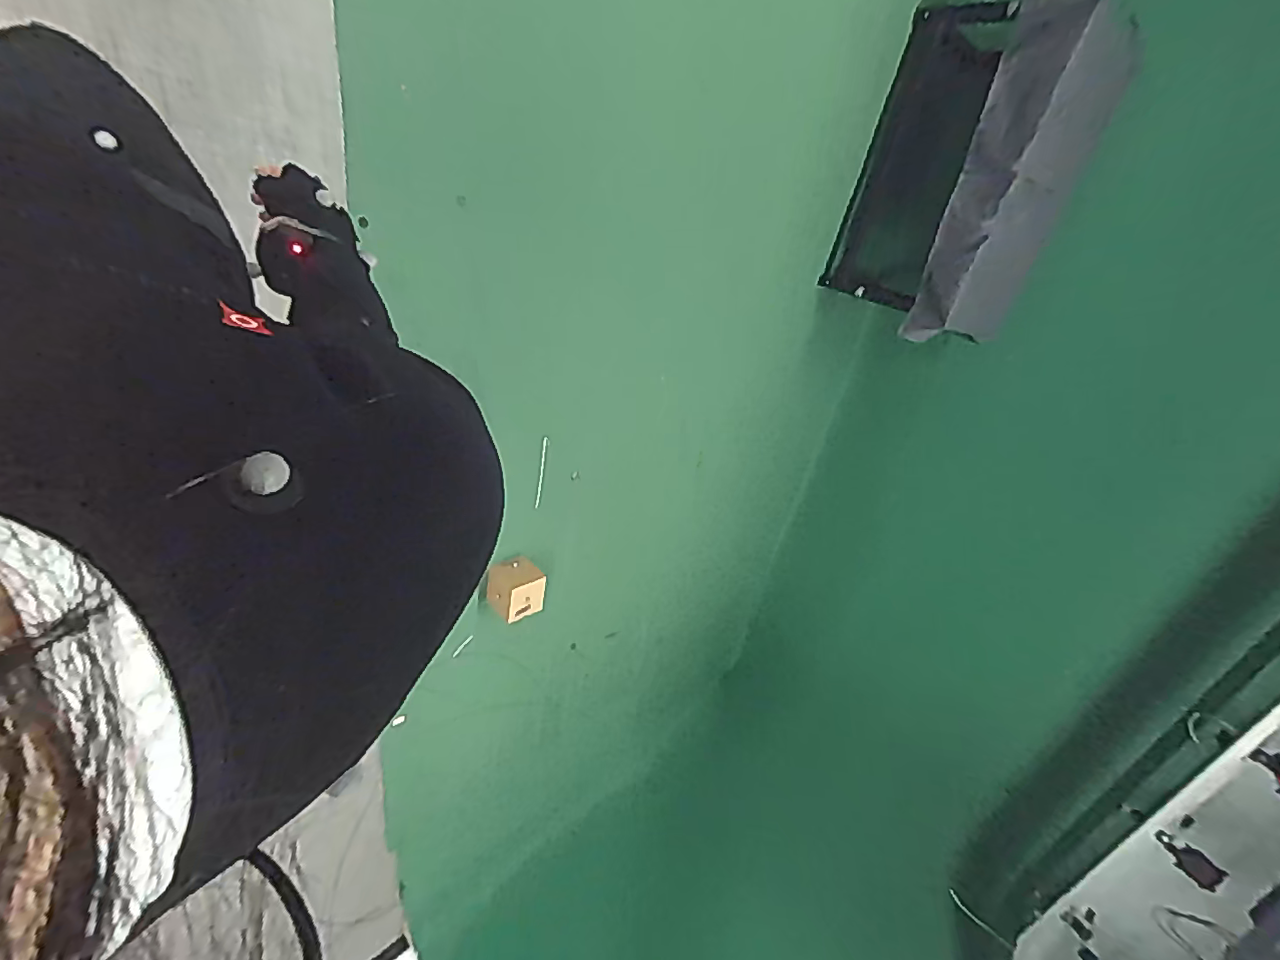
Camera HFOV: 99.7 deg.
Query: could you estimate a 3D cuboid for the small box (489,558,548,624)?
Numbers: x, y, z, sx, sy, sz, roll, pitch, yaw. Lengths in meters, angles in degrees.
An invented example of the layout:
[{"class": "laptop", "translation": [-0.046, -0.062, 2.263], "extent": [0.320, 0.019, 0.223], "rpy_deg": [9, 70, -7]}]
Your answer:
[{"class": "small box", "translation": [-0.499, 0.448, 2.206], "extent": [0.168, 0.176, 0.179], "rpy_deg": [-16, 128, -43]}]
